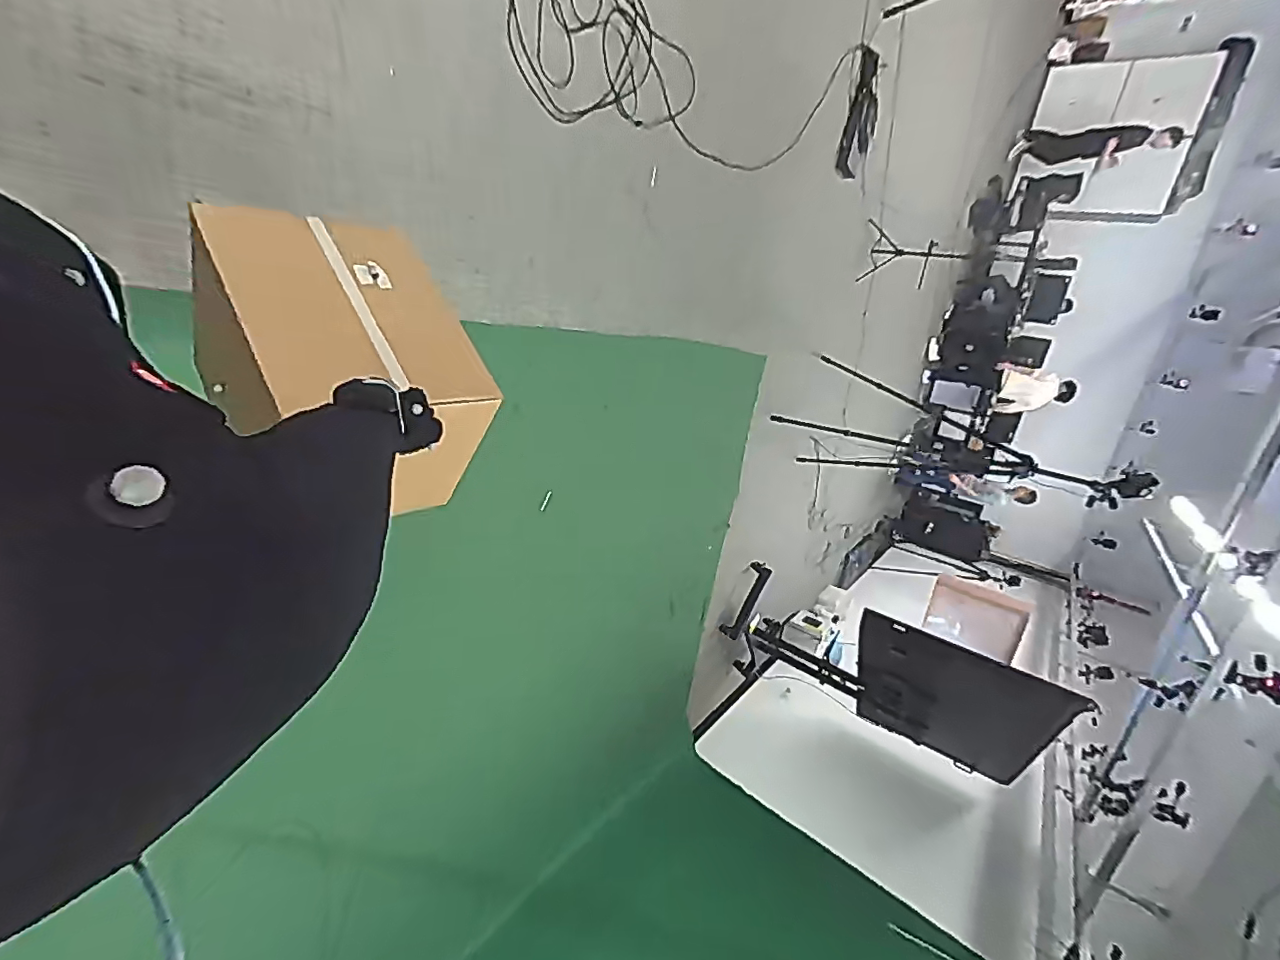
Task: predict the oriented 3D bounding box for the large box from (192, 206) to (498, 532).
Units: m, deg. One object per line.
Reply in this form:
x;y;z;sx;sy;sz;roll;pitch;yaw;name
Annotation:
-0.510;-0.183;0.924;0.320;0.408;0.320;-15;155;-46;large box
